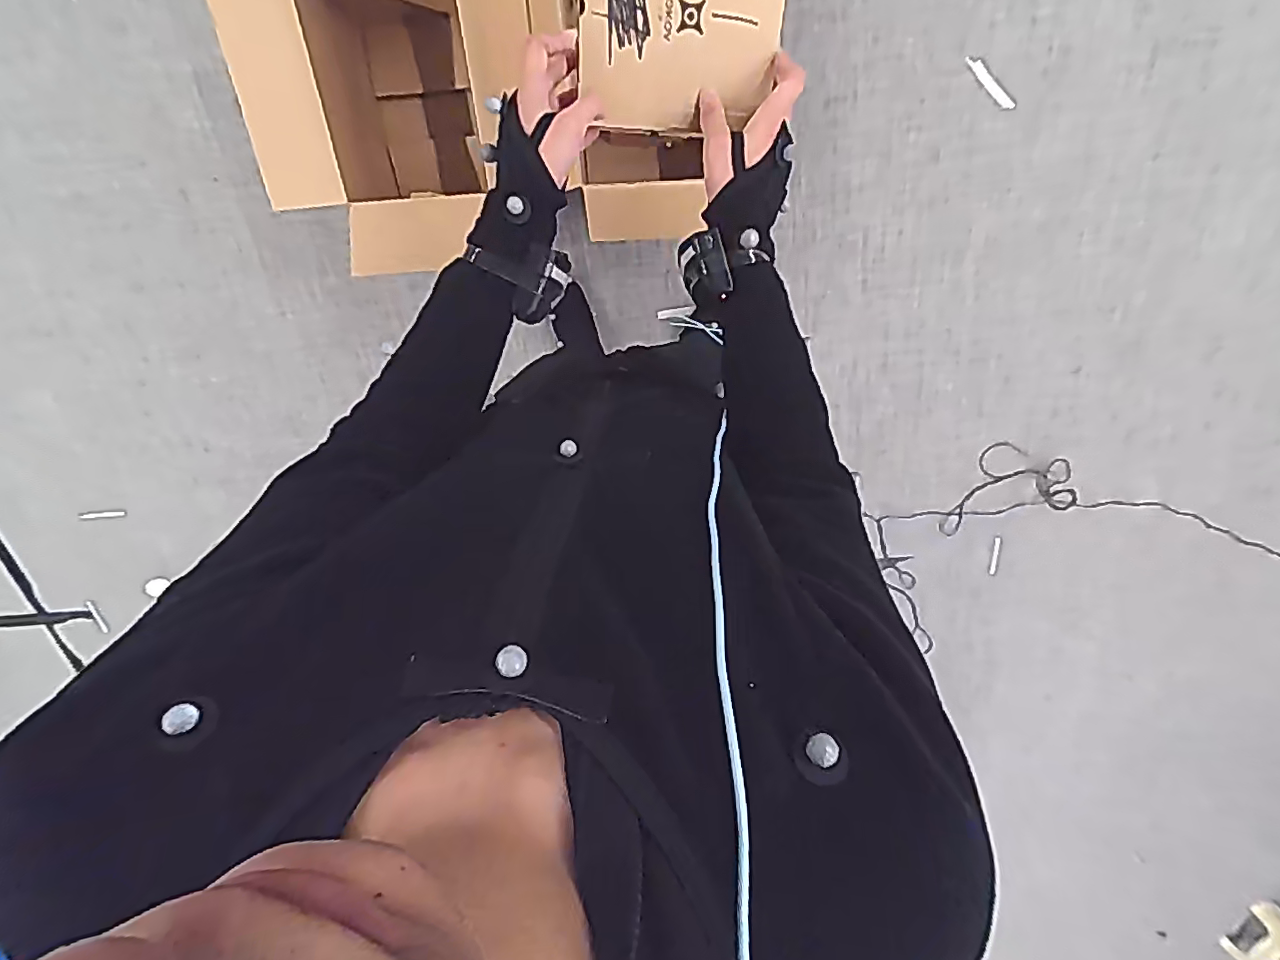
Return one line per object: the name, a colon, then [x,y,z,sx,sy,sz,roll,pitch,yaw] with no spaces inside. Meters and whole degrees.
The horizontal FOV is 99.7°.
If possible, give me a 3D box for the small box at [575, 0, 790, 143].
small box: [0.029,-0.420,0.509,0.179,0.176,0.168,0,123,-7]
